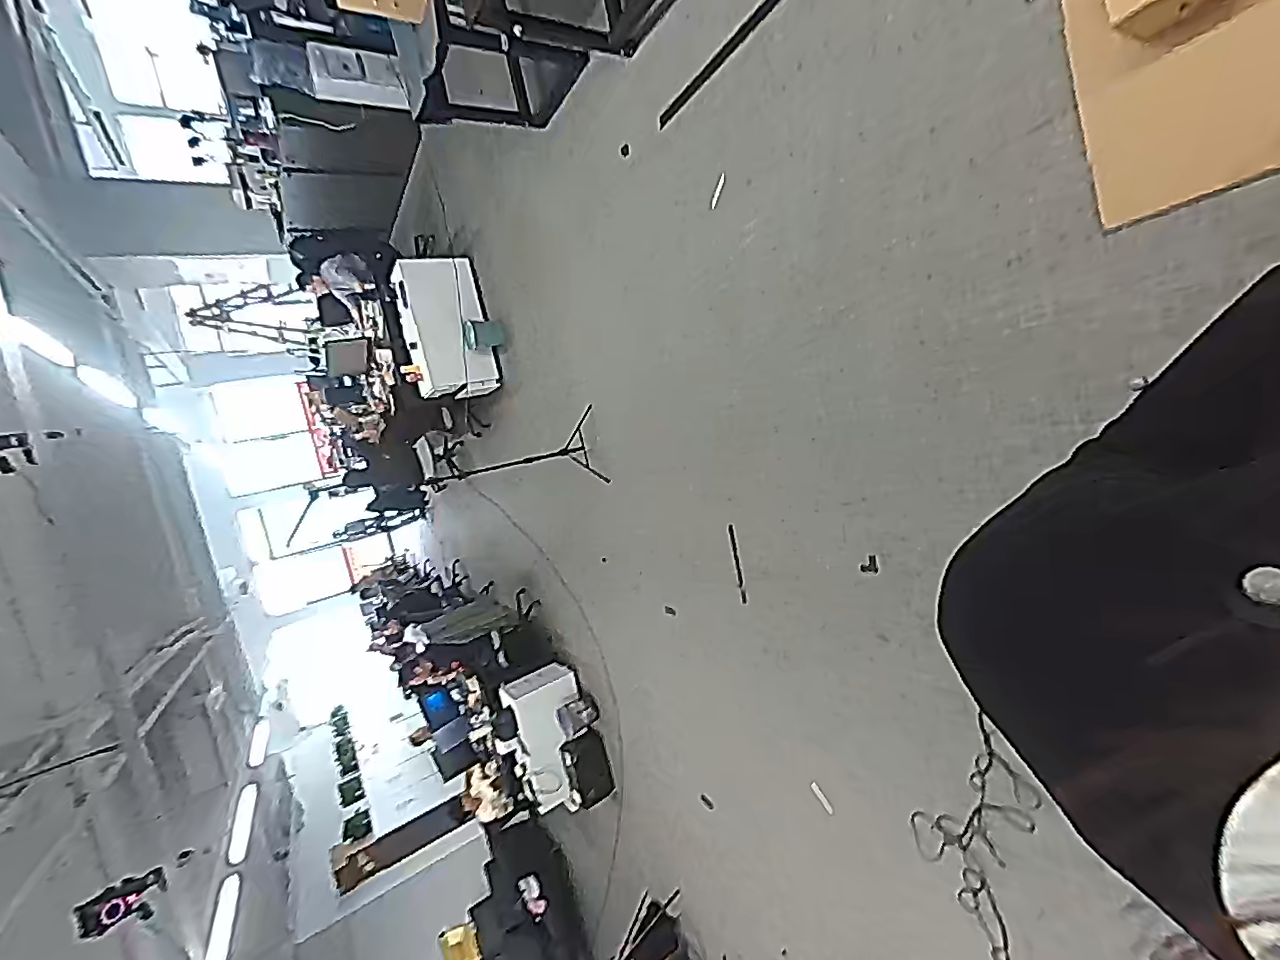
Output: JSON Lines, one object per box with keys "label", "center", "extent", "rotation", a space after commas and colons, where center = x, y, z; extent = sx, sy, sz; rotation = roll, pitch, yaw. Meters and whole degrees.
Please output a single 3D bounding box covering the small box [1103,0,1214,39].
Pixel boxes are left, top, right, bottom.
{"label": "small box", "center": [0.985, -0.972, 1.002], "extent": [0.168, 0.176, 0.179], "rotation": [-8, 97, 59]}
